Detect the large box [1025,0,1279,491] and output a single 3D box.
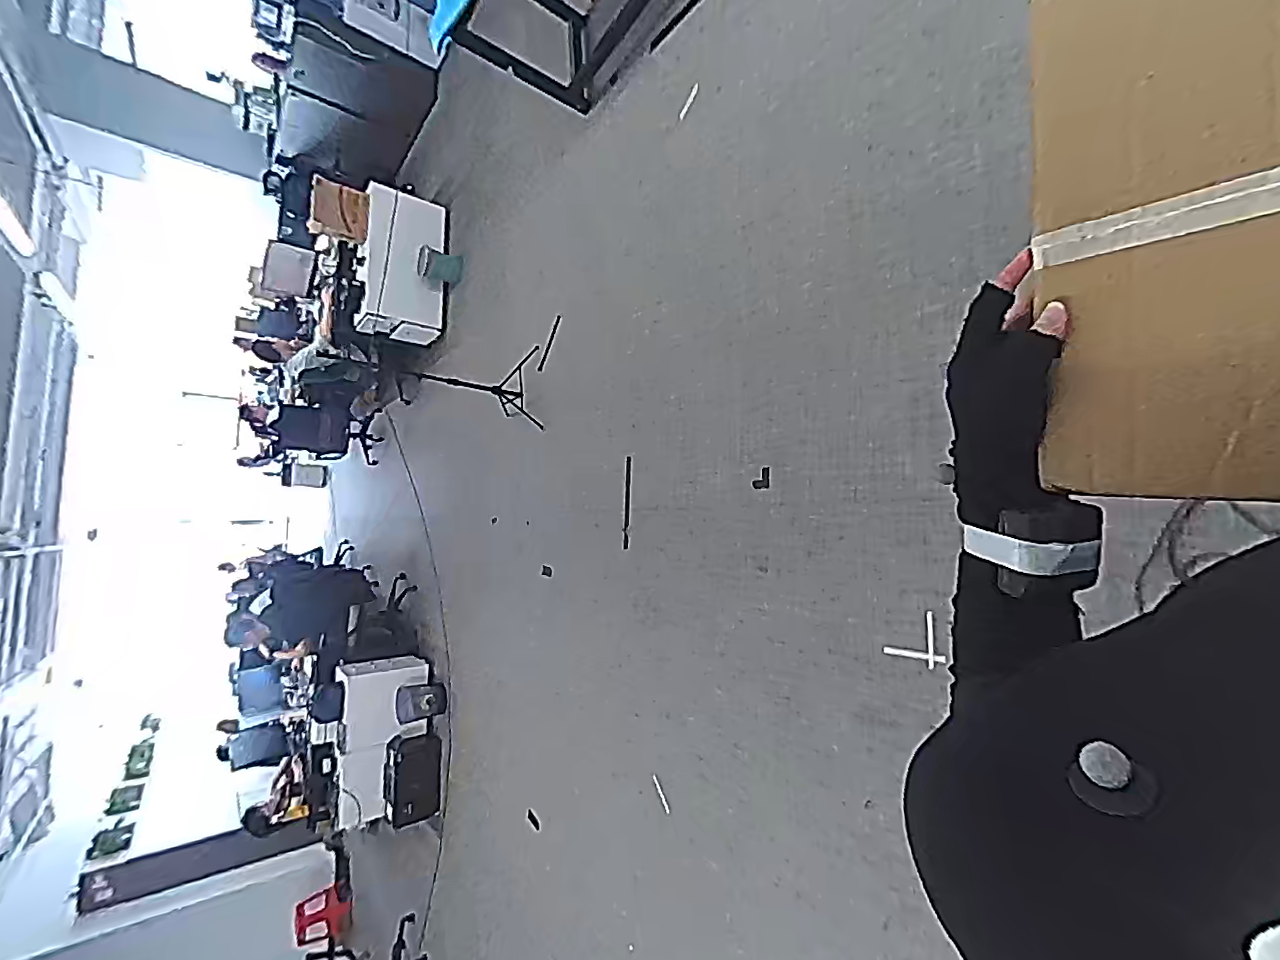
[{"bbox_3d":[0.502,-0.165,0.290,0.408,0.320,0.320,1,97,53],"label":"large box"}]
